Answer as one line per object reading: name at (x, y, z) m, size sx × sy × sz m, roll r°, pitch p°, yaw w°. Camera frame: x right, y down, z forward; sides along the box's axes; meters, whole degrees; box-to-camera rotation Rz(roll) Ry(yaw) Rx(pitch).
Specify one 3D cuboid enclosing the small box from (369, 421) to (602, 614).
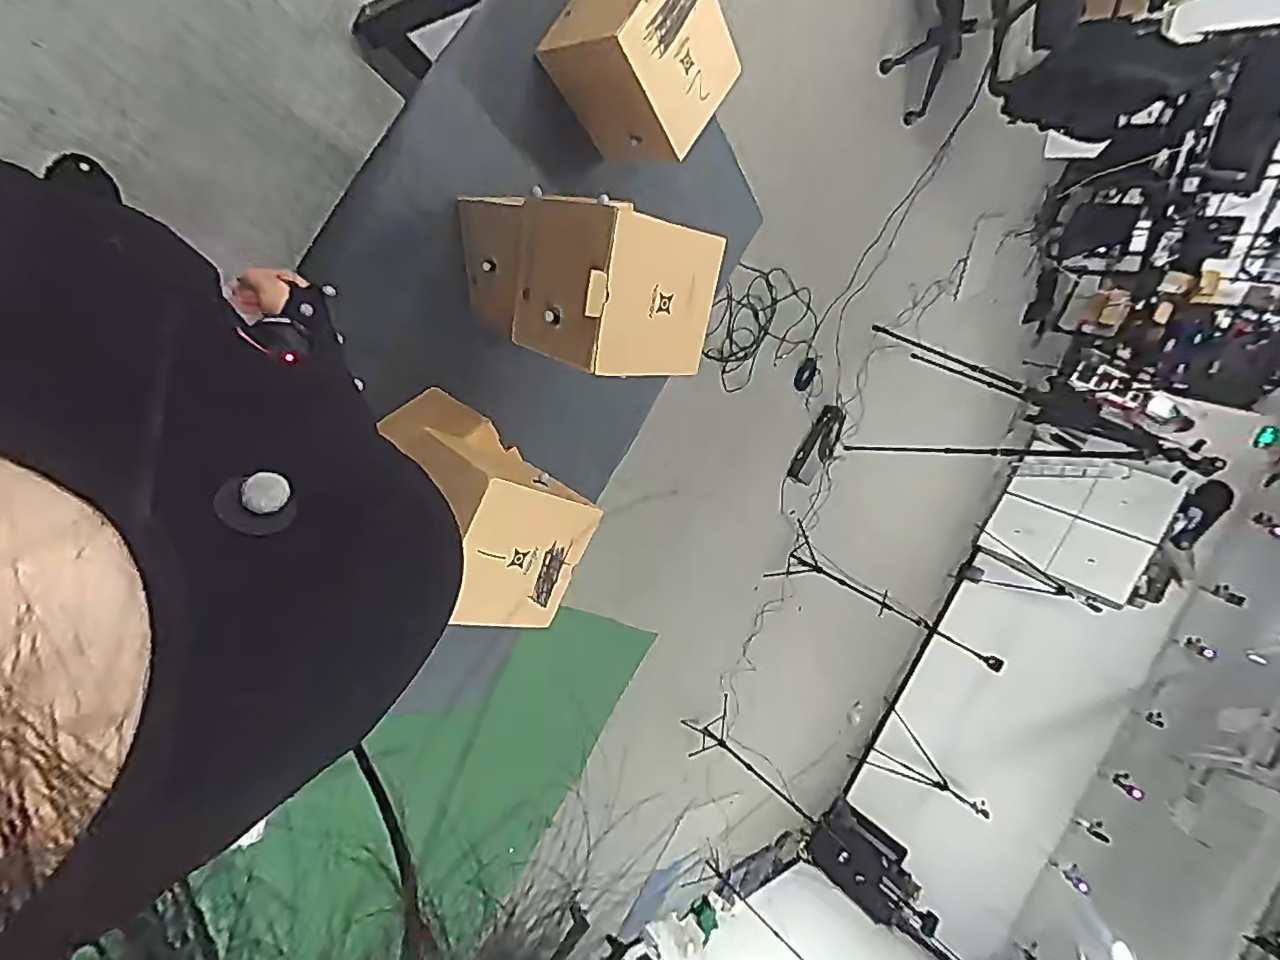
small box at (-0.185, 0.044, 0.650) m, size 0.179 × 0.176 × 0.168 m, roll 22°, pitch 94°, yaw -51°

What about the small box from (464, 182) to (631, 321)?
small box at (-0.130, -0.318, 0.756) m, size 0.179 × 0.176 × 0.168 m, roll -24°, pitch 129°, yaw -37°

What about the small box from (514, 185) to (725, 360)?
small box at (-0.031, -0.245, 0.648) m, size 0.179 × 0.176 × 0.168 m, roll -12°, pitch 122°, yaw -44°
